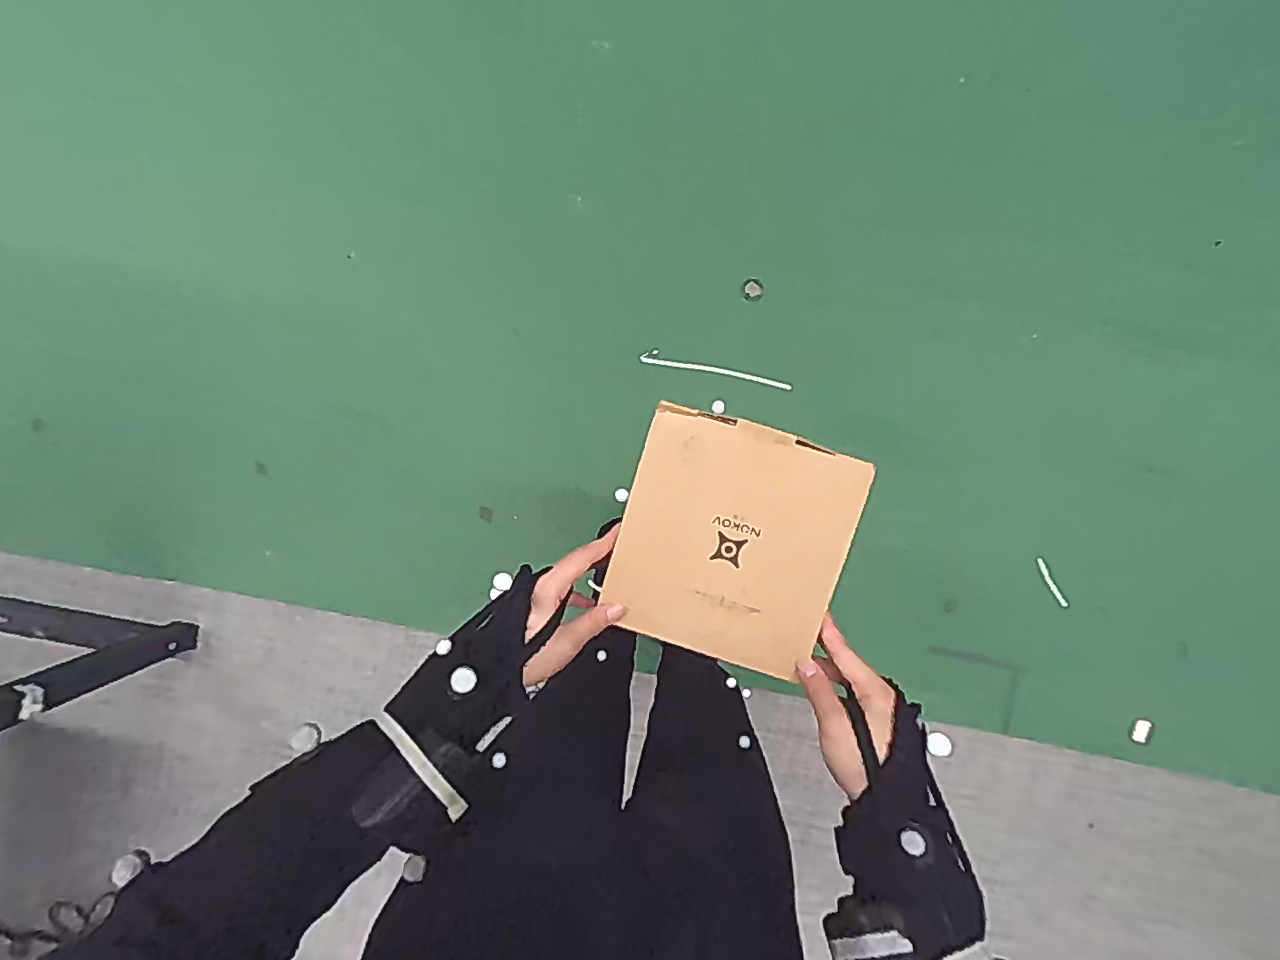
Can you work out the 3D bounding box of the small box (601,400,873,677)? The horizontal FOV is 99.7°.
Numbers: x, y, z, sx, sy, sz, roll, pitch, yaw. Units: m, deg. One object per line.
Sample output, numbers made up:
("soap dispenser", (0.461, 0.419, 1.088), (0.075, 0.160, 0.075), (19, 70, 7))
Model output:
("small box", (0.077, 0.037, 0.485), (0.168, 0.176, 0.179), (17, 98, 4))
